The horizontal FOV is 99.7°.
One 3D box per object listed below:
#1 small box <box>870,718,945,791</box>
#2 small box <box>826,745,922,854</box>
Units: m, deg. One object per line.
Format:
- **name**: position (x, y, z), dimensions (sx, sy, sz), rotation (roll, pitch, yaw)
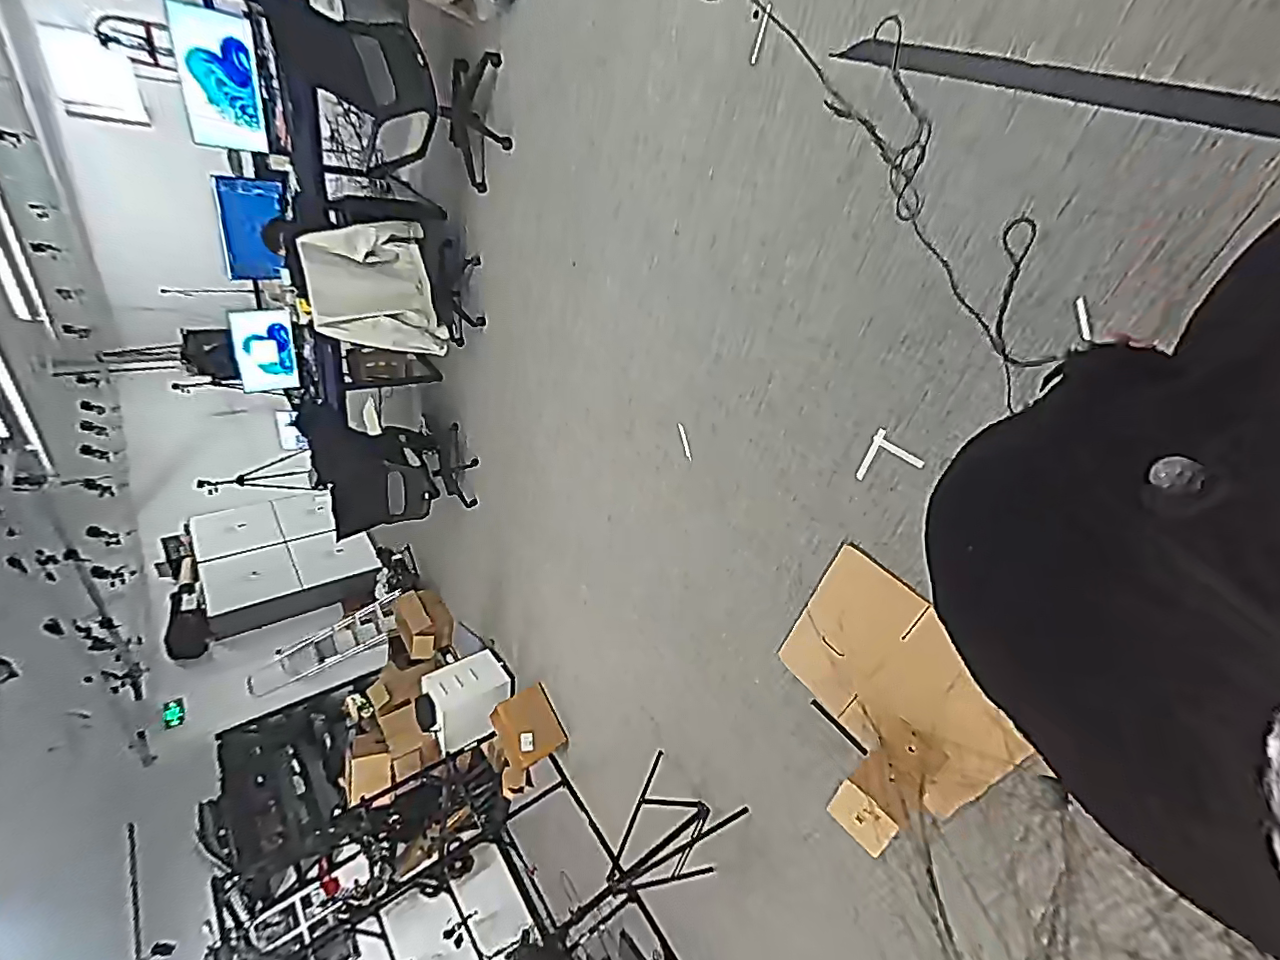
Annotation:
- **small box**: position (0.798, 0.869, 1.653), dimensions (0.168, 0.176, 0.179), rotation (37, 129, 38)
- **small box**: position (0.674, 0.910, 1.552), dimensions (0.168, 0.176, 0.179), rotation (38, 130, 36)
